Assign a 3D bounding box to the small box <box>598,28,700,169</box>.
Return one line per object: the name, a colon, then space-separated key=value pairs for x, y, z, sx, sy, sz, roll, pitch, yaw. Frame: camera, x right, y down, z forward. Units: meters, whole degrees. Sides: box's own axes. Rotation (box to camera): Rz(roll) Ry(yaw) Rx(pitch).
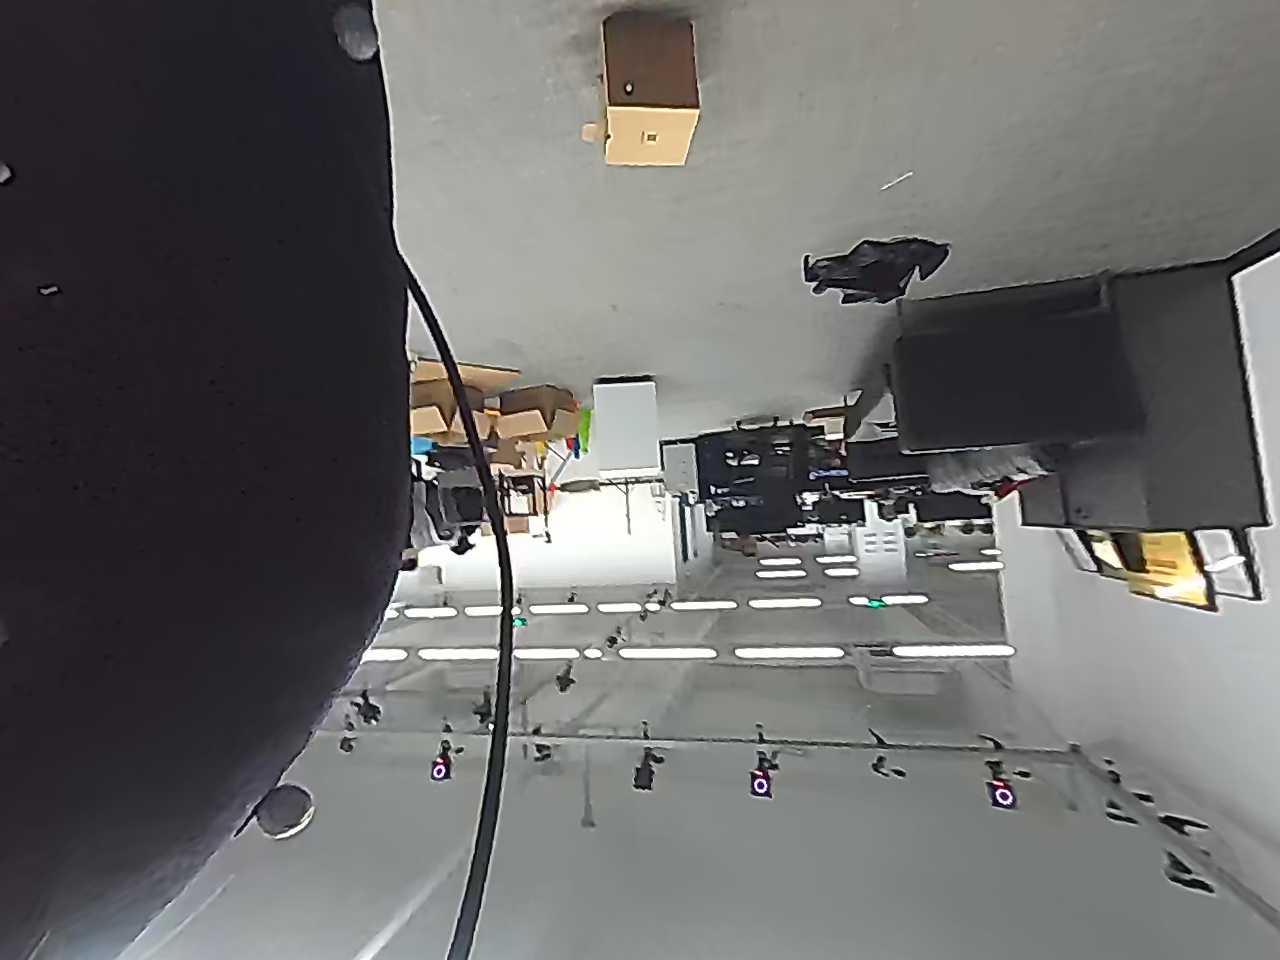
small box: x=0.011 y=-0.751 z=1.075 sx=0.179 sy=0.176 sz=0.168 roll=-3 pitch=177 yaw=-7
